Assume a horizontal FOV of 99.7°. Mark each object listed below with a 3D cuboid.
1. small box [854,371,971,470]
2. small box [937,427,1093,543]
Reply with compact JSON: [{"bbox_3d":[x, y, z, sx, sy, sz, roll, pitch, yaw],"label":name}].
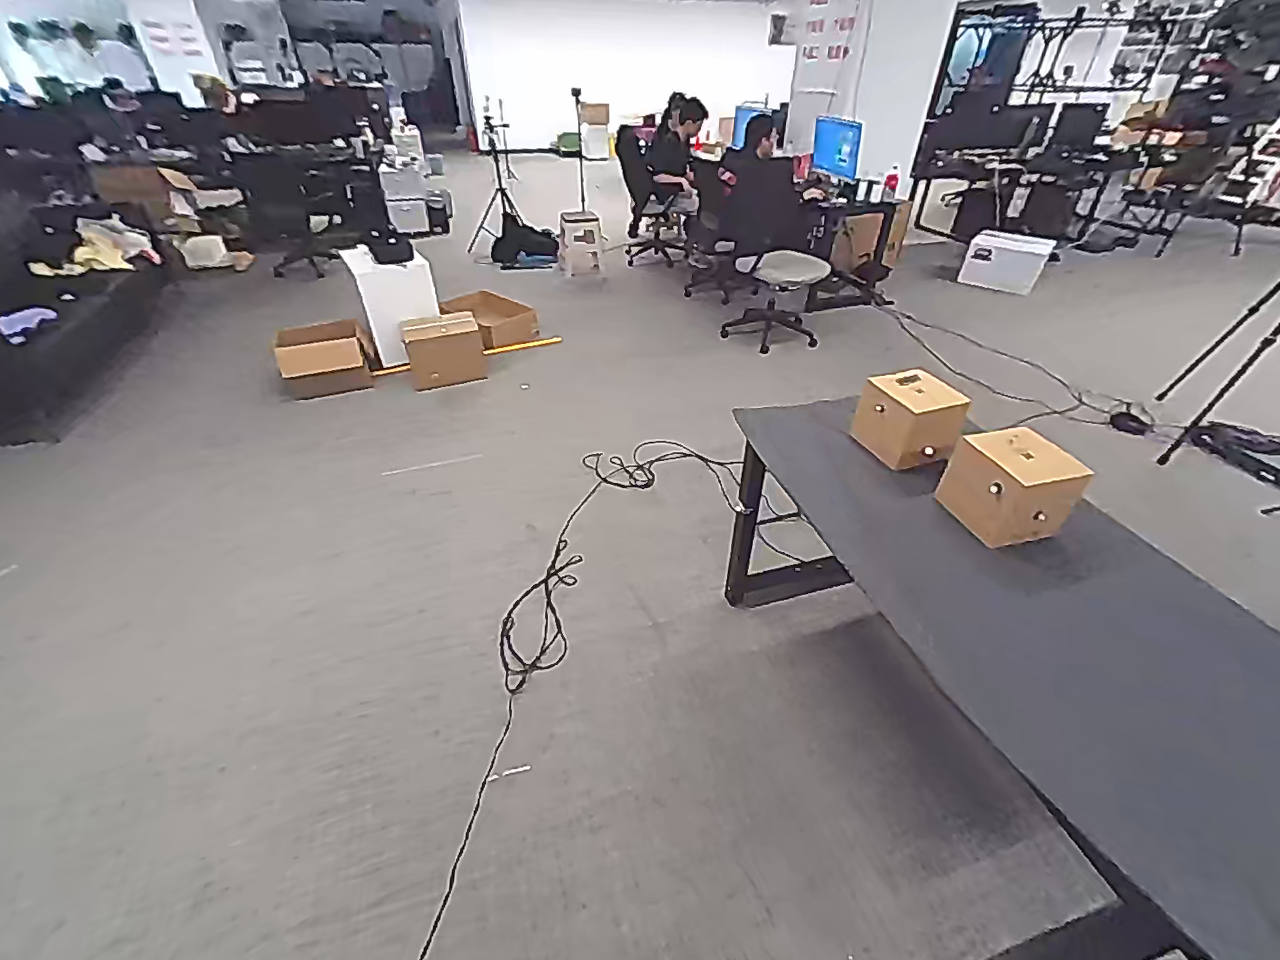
[{"bbox_3d":[0.660,-0.149,1.336,0.168,0.176,0.179,-13,40,-16],"label":"small box"},{"bbox_3d":[0.765,0.015,1.125,0.168,0.176,0.179,-8,39,-11],"label":"small box"}]
